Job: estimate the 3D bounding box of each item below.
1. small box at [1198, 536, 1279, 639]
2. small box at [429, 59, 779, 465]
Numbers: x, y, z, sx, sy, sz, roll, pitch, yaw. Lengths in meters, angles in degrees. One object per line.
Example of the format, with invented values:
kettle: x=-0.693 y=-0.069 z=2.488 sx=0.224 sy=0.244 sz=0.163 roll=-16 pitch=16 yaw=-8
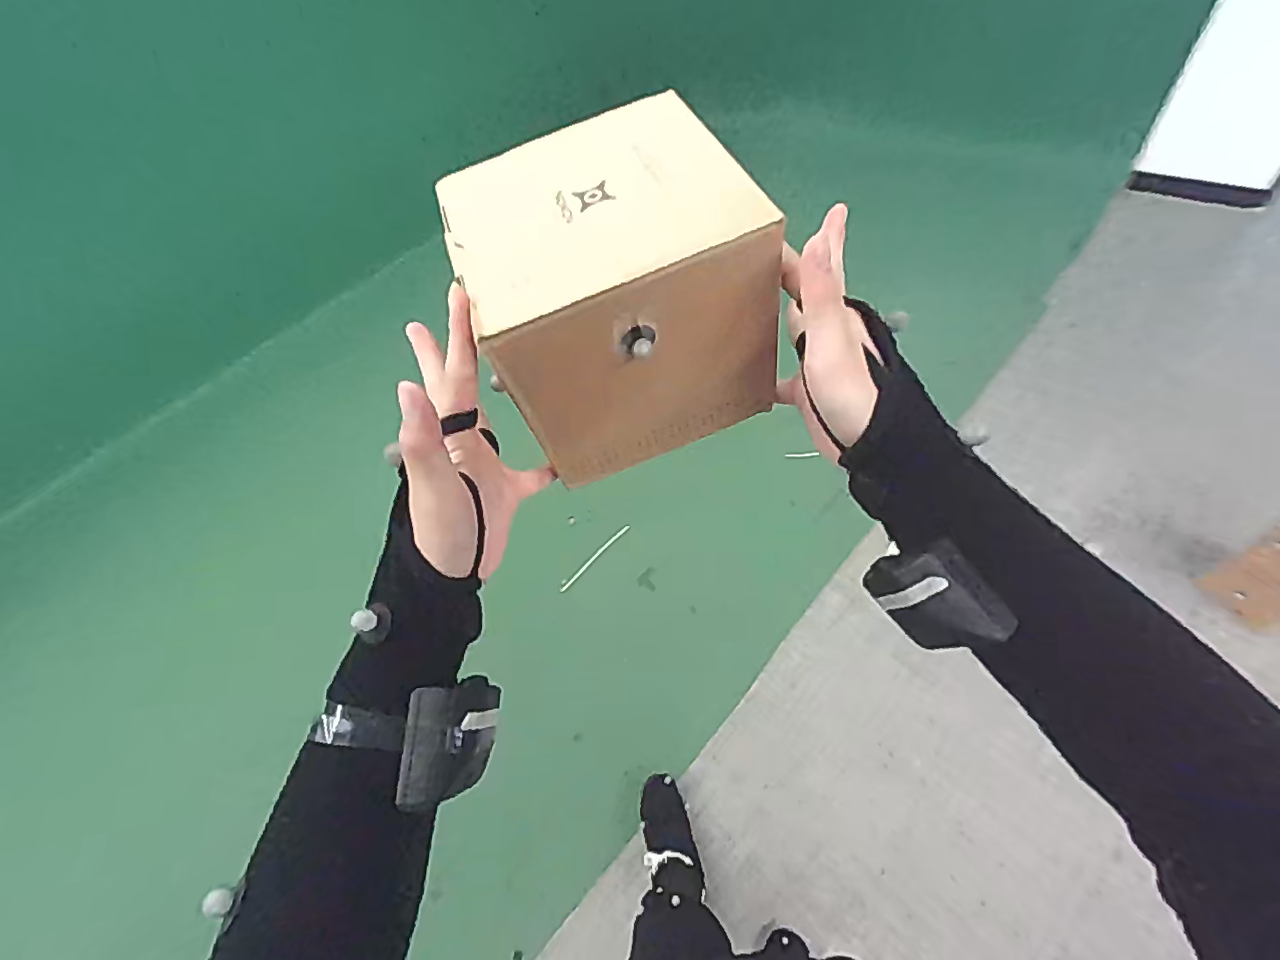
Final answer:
small box: x=1.569 y=0.270 z=1.347 sx=0.179 sy=0.176 sz=0.168 roll=-25 pitch=55 yaw=-7
small box: x=-0.018 y=-0.135 z=0.372 sx=0.179 sy=0.176 sz=0.168 roll=-19 pitch=59 yaw=0
